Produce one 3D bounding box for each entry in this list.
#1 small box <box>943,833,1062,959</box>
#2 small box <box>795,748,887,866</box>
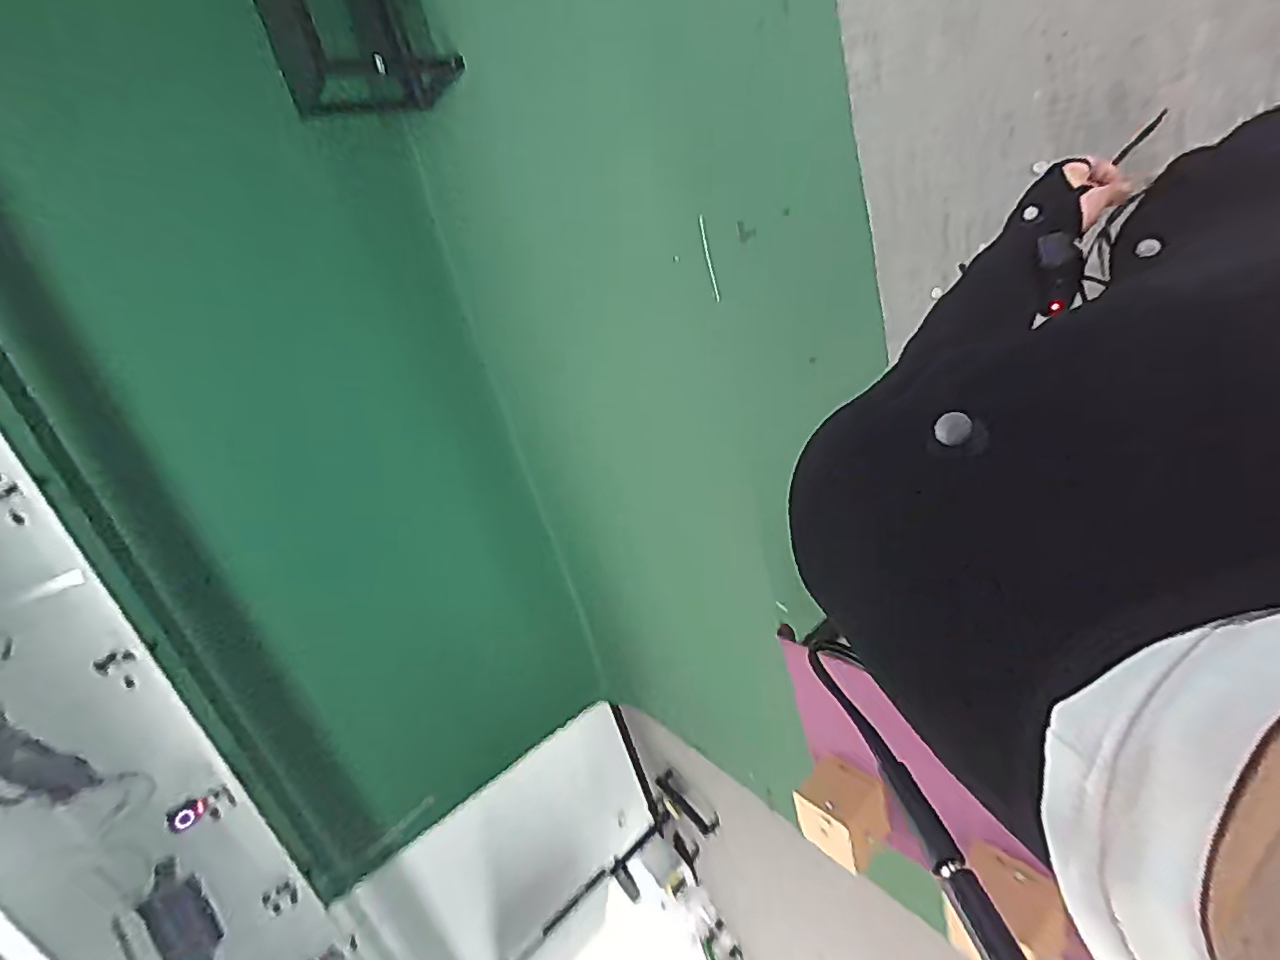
[{"bbox_3d":[0.784,0.925,1.166,0.168,0.176,0.179,9,120,53],"label":"small box"},{"bbox_3d":[0.554,0.885,1.480,0.168,0.176,0.179,10,122,52],"label":"small box"}]
